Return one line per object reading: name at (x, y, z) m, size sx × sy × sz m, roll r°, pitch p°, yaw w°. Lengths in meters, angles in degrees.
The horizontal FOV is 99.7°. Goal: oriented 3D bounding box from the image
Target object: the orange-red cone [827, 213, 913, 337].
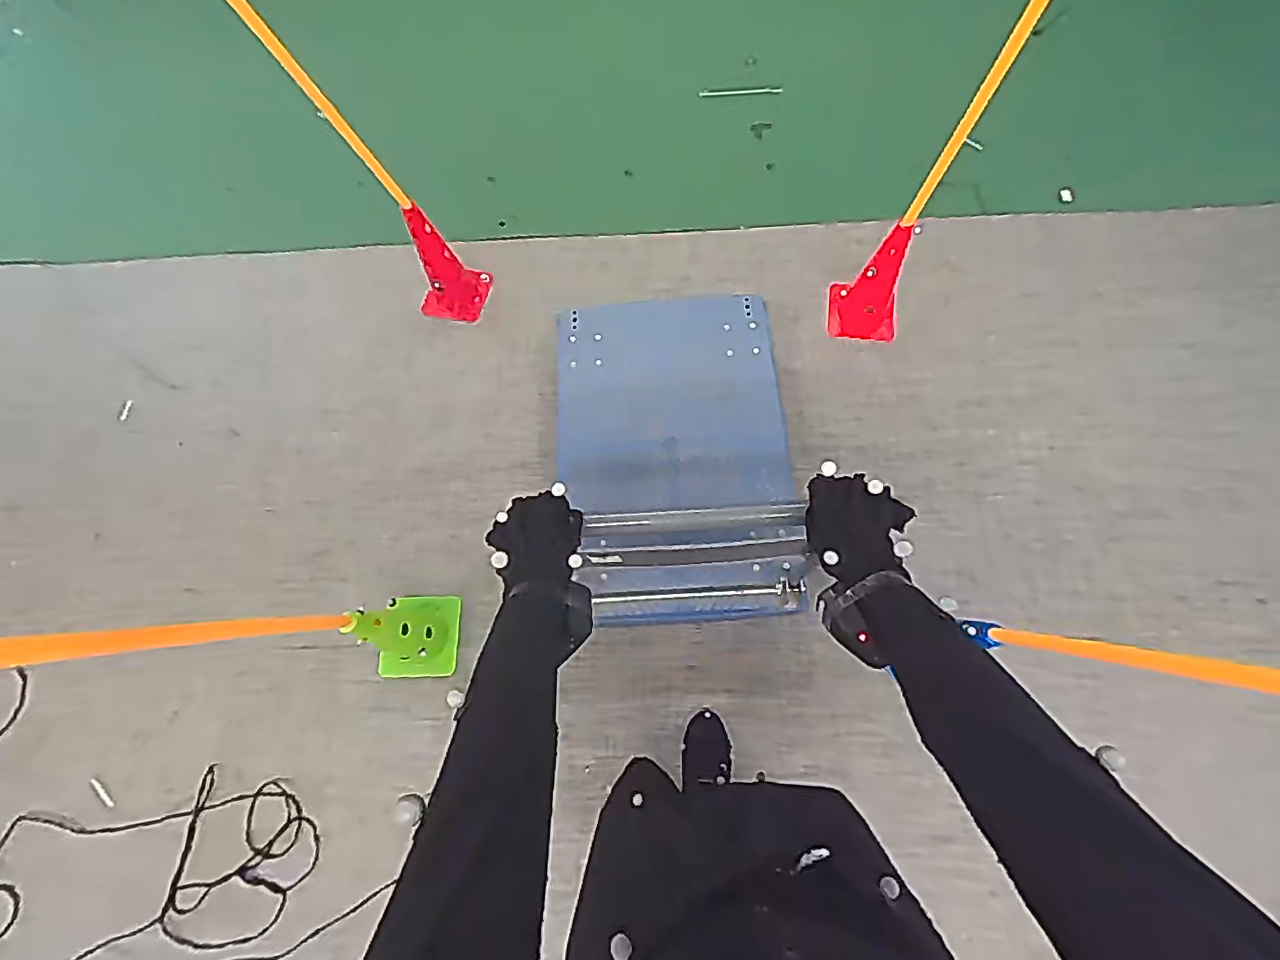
orange-red cone at (0.668, -0.584, 1.495) m, size 0.198 × 0.360 × 0.199 m, roll 9°, pitch 72°, yaw 8°
